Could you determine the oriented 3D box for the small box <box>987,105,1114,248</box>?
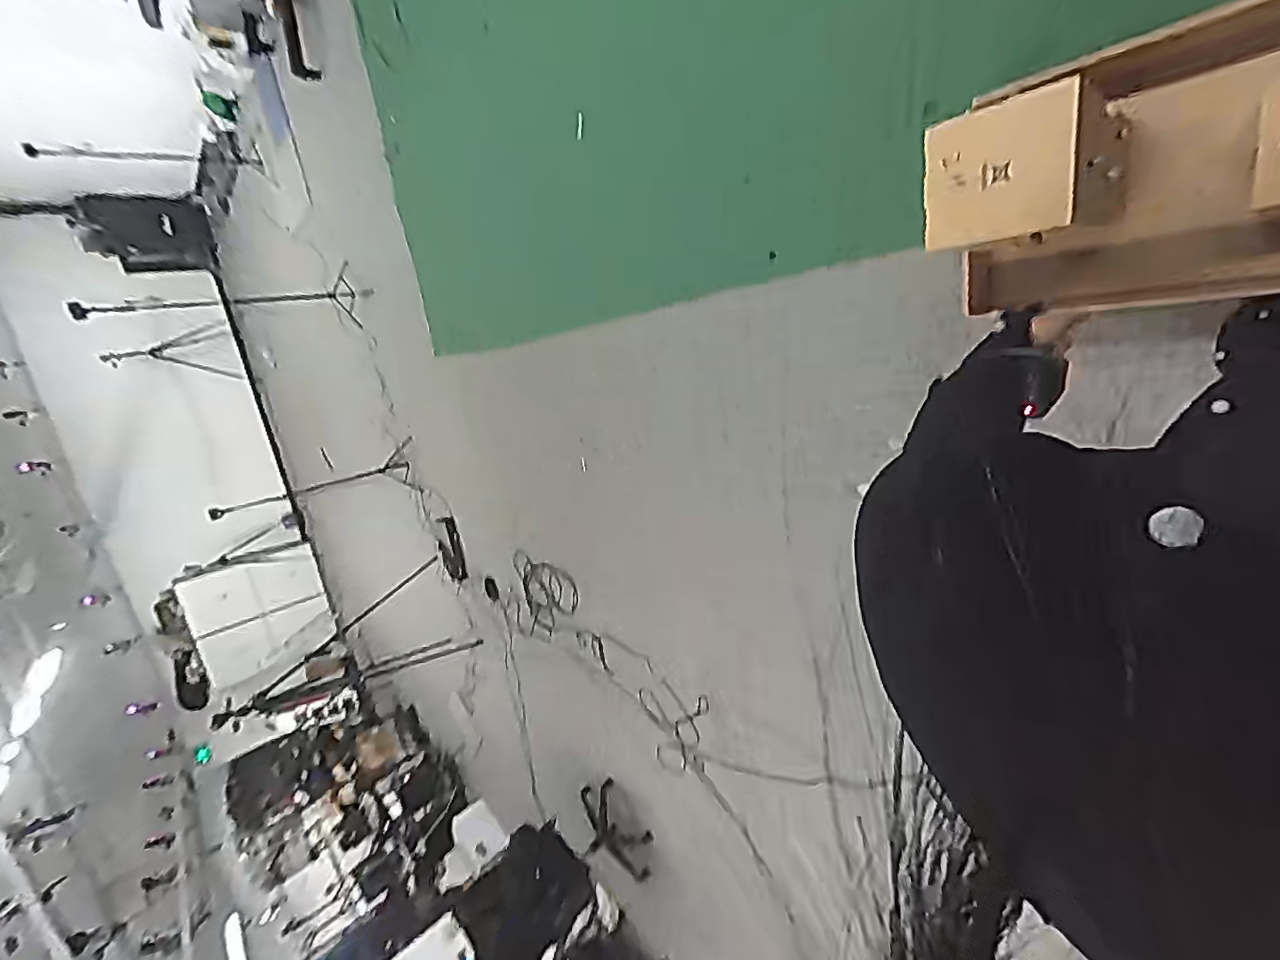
[{"bbox_3d":[0.644,-0.481,0.884,0.179,0.176,0.168,7,113,46],"label":"small box"}]

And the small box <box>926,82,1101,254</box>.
[{"bbox_3d":[0.533,-0.429,0.772,0.179,0.176,0.168,7,112,47],"label":"small box"}]

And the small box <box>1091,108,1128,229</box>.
[{"bbox_3d":[0.763,-0.538,0.982,0.168,0.176,0.179,6,112,47],"label":"small box"}]
